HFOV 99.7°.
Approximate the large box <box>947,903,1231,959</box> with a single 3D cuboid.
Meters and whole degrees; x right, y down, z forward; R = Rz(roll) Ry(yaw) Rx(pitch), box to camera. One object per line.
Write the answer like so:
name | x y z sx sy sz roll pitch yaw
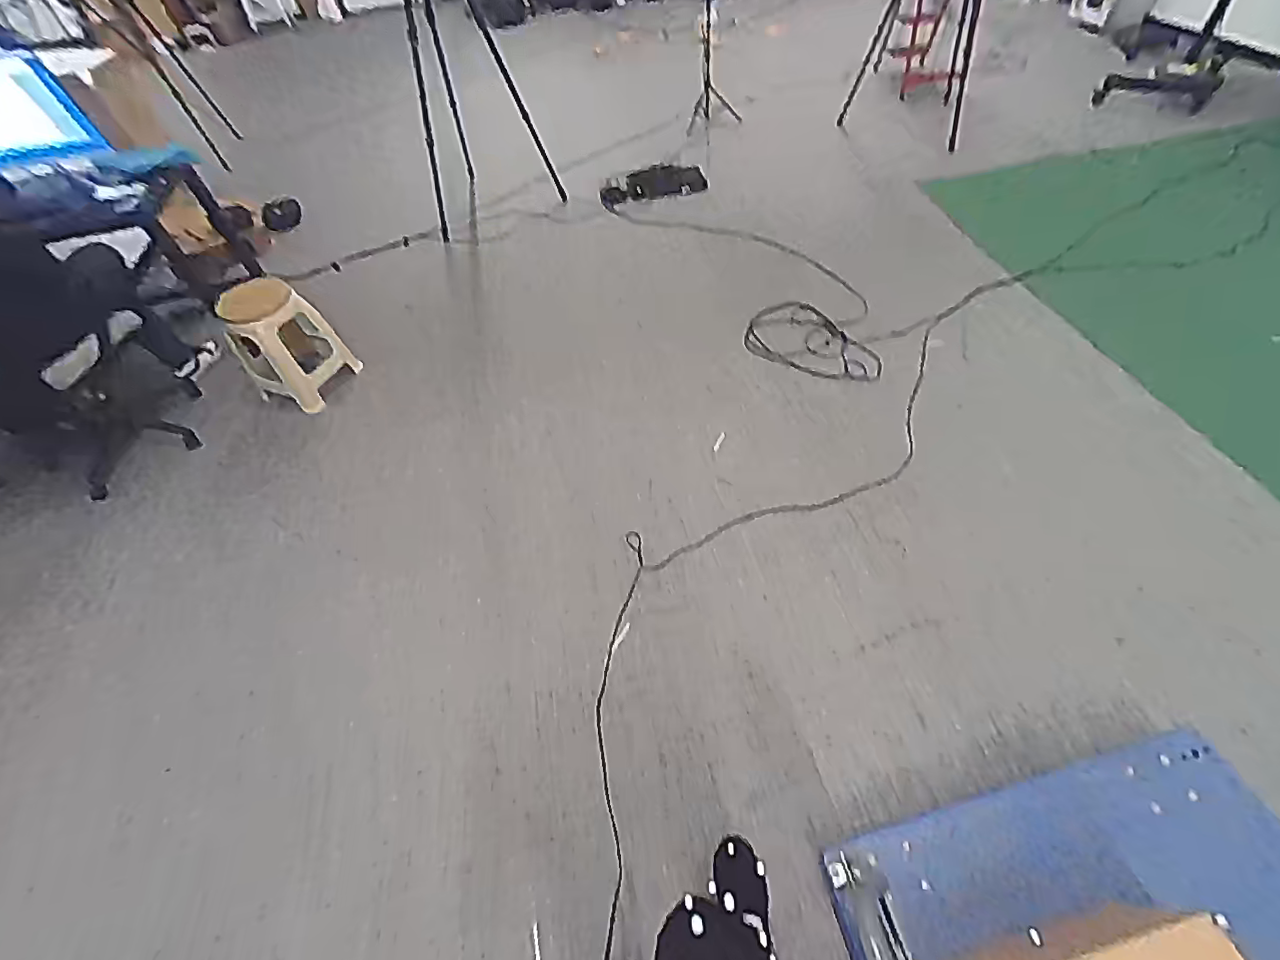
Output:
large box | 0.717 0.911 0.836 0.408 0.320 0.320 -19 54 0
